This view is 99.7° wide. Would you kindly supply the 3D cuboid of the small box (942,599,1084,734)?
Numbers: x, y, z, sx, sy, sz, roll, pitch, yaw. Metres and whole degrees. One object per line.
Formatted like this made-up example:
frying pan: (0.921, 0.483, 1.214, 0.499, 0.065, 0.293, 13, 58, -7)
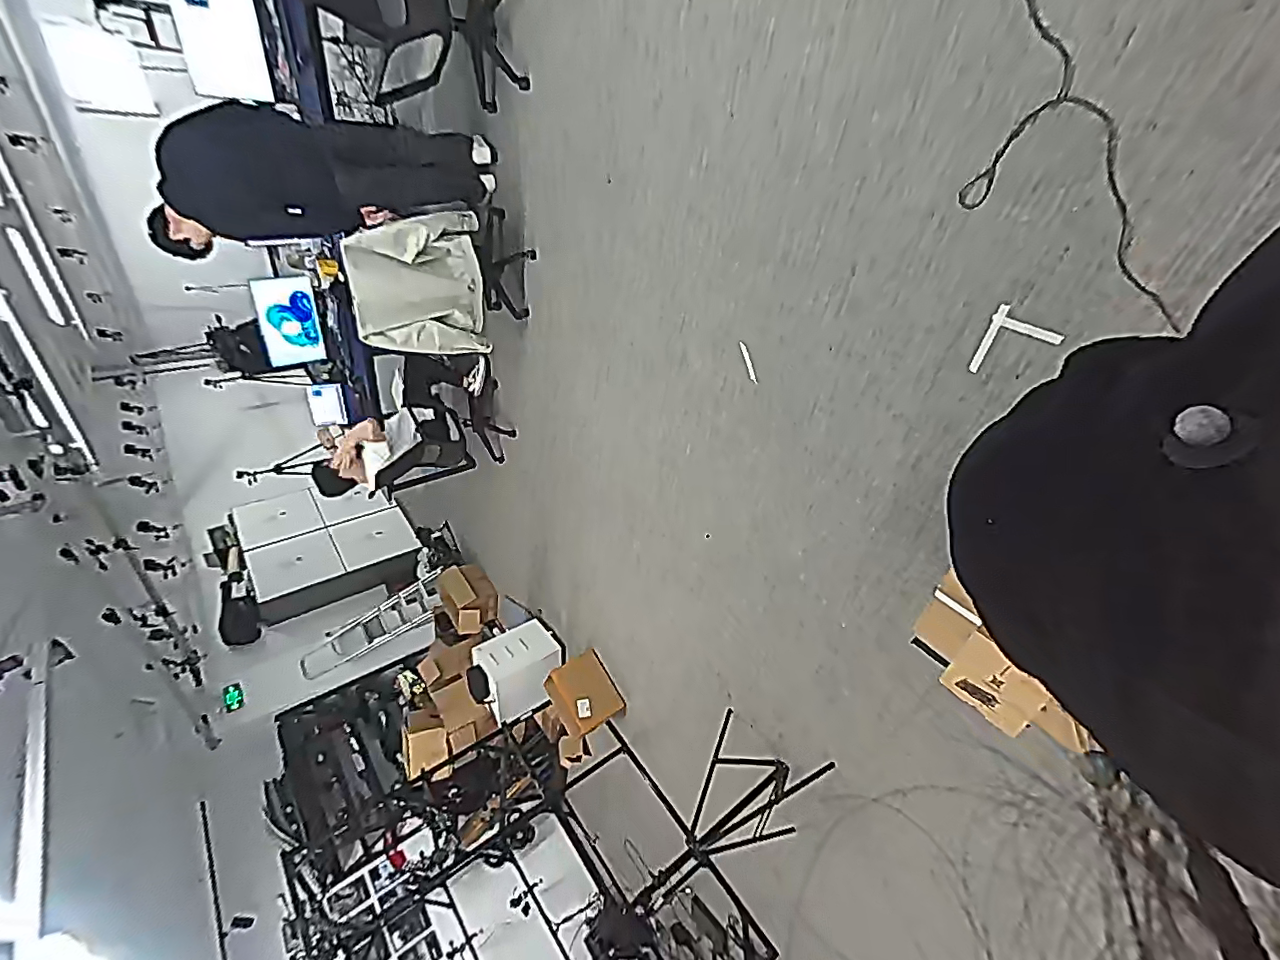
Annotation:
small box: (0.792, 0.389, 1.149, 0.168, 0.176, 0.179, 40, 135, 37)
